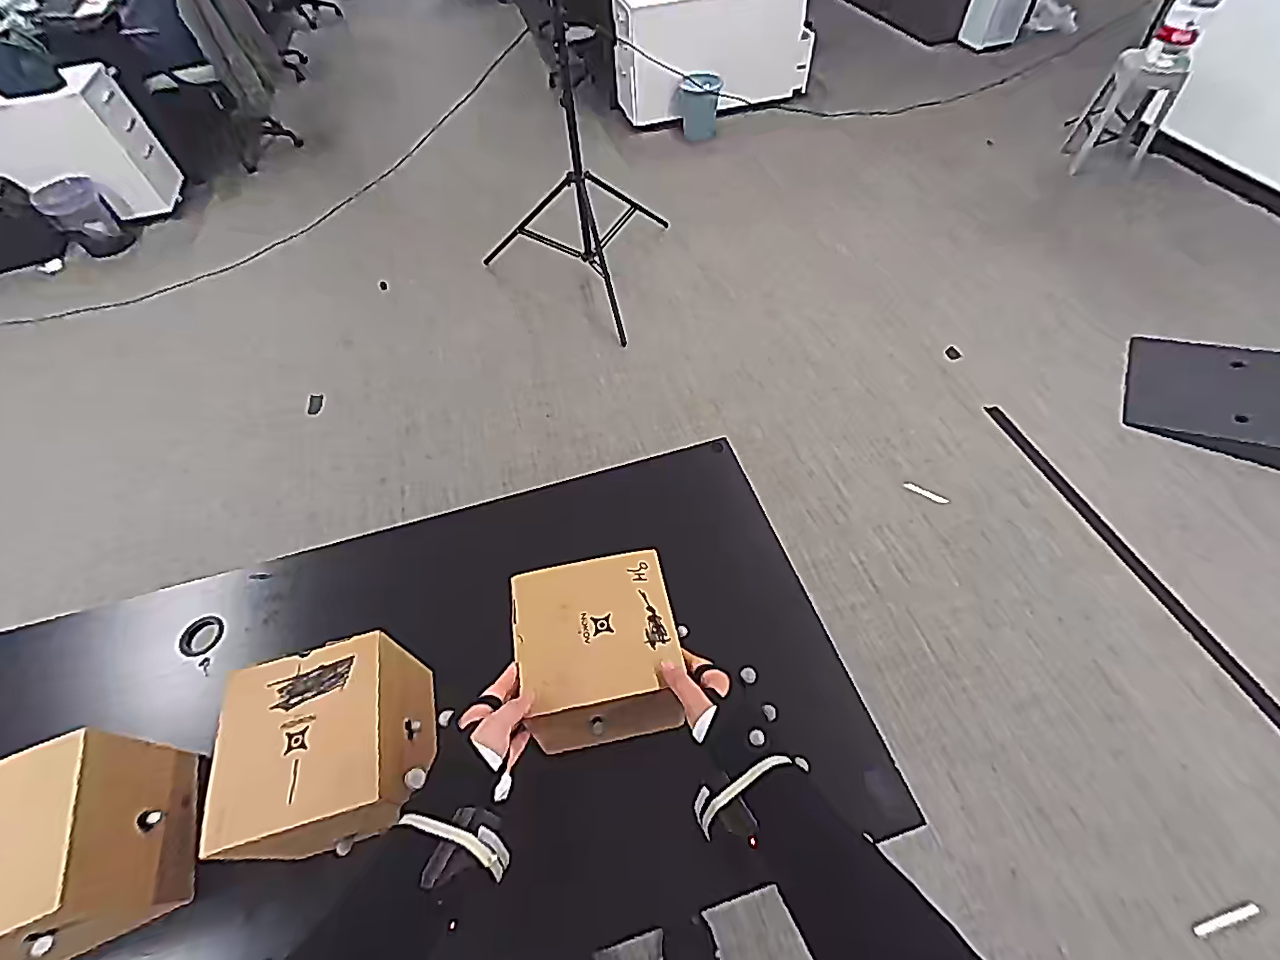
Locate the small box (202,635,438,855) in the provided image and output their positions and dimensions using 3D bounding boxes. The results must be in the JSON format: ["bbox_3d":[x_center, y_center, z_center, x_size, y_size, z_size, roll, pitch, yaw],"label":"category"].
[{"bbox_3d":[-0.345,0.307,0.621,0.168,0.176,0.179,-15,56,-7],"label":"small box"}]

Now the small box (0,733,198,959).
[{"bbox_3d":[-0.616,0.398,0.572,0.179,0.176,0.168,-22,56,-11],"label":"small box"}]

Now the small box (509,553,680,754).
[{"bbox_3d":[-0.052,0.215,0.657,0.179,0.176,0.168,-10,52,-5],"label":"small box"}]
